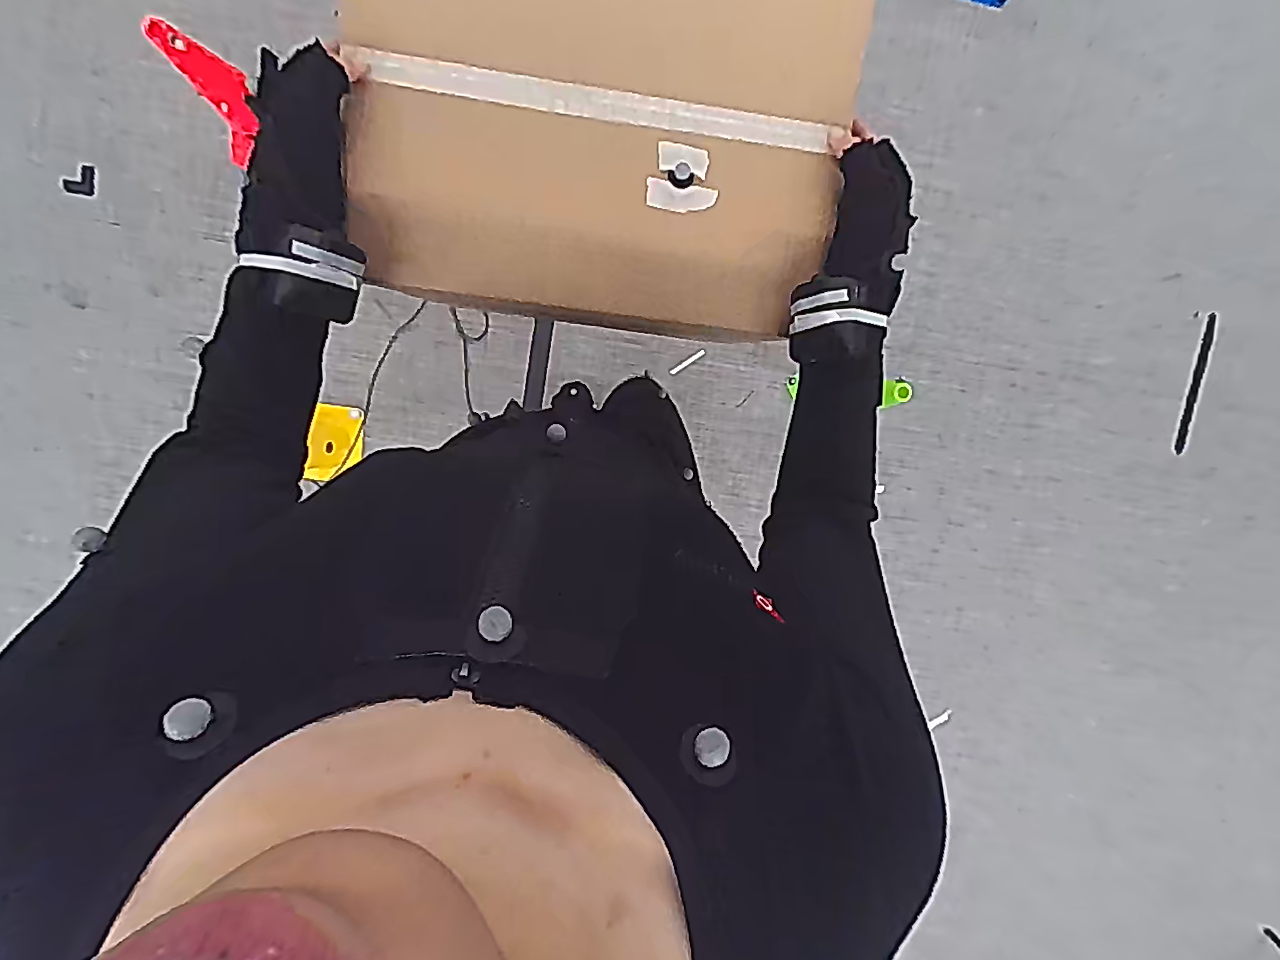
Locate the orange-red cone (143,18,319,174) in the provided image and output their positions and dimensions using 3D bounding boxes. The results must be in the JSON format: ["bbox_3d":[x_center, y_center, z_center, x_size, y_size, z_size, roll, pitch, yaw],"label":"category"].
[{"bbox_3d":[-0.858,-0.816,1.119,0.198,0.360,0.199,6,99,-4],"label":"orange-red cone"}]

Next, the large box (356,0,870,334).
[{"bbox_3d":[-0.035,-0.341,0.579,0.408,0.320,0.320,6,103,-6],"label":"large box"}]

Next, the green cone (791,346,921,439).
[{"bbox_3d":[0.545,-0.212,1.297,0.202,0.368,0.200,-29,100,-1],"label":"green cone"}]
